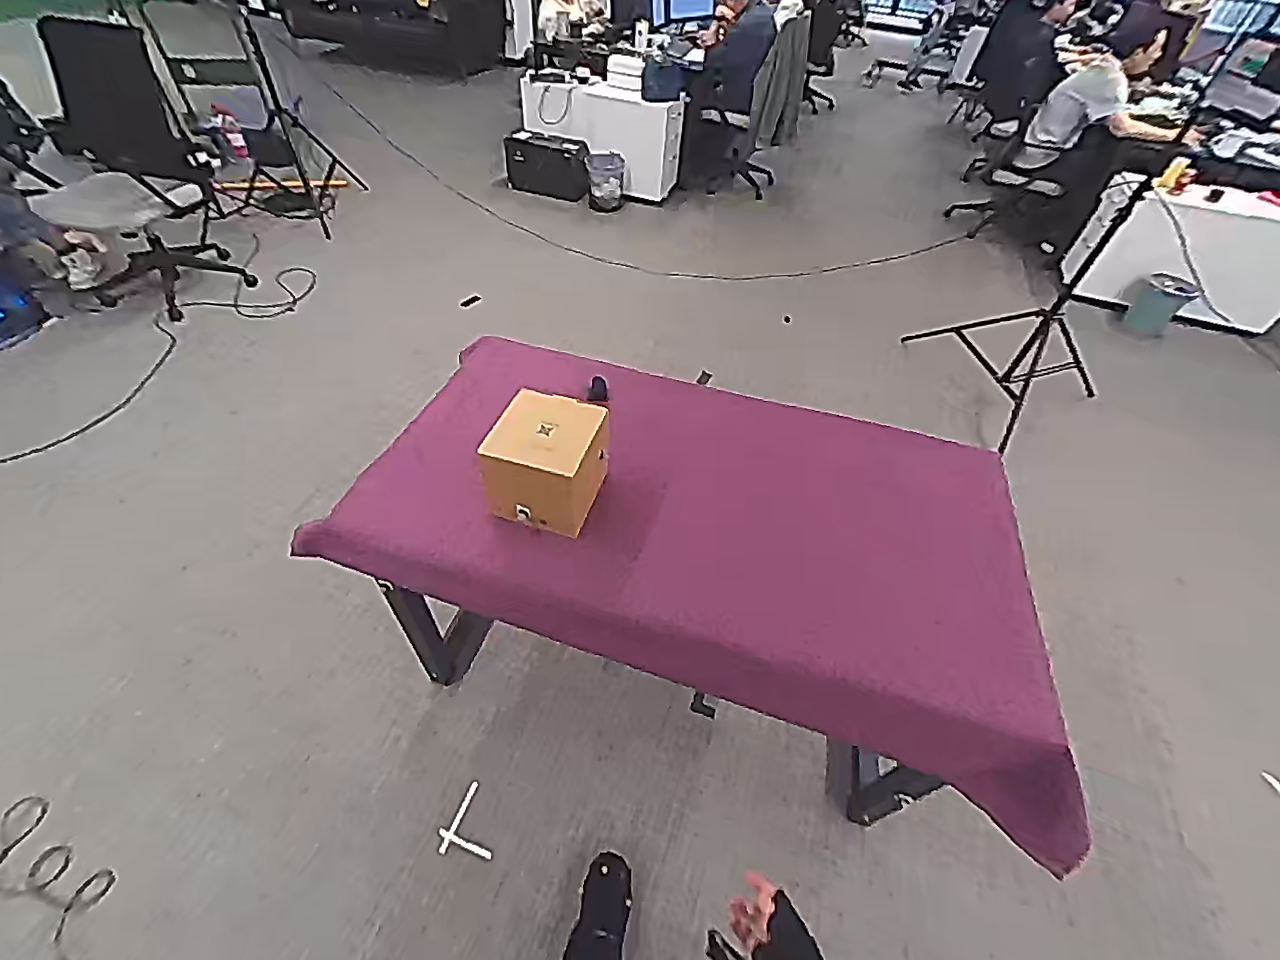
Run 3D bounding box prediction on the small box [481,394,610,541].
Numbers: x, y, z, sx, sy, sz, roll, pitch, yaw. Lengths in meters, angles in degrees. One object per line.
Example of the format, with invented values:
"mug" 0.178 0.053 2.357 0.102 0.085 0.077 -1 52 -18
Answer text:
"small box" -0.159 -0.022 0.960 0.168 0.176 0.179 13 48 8
